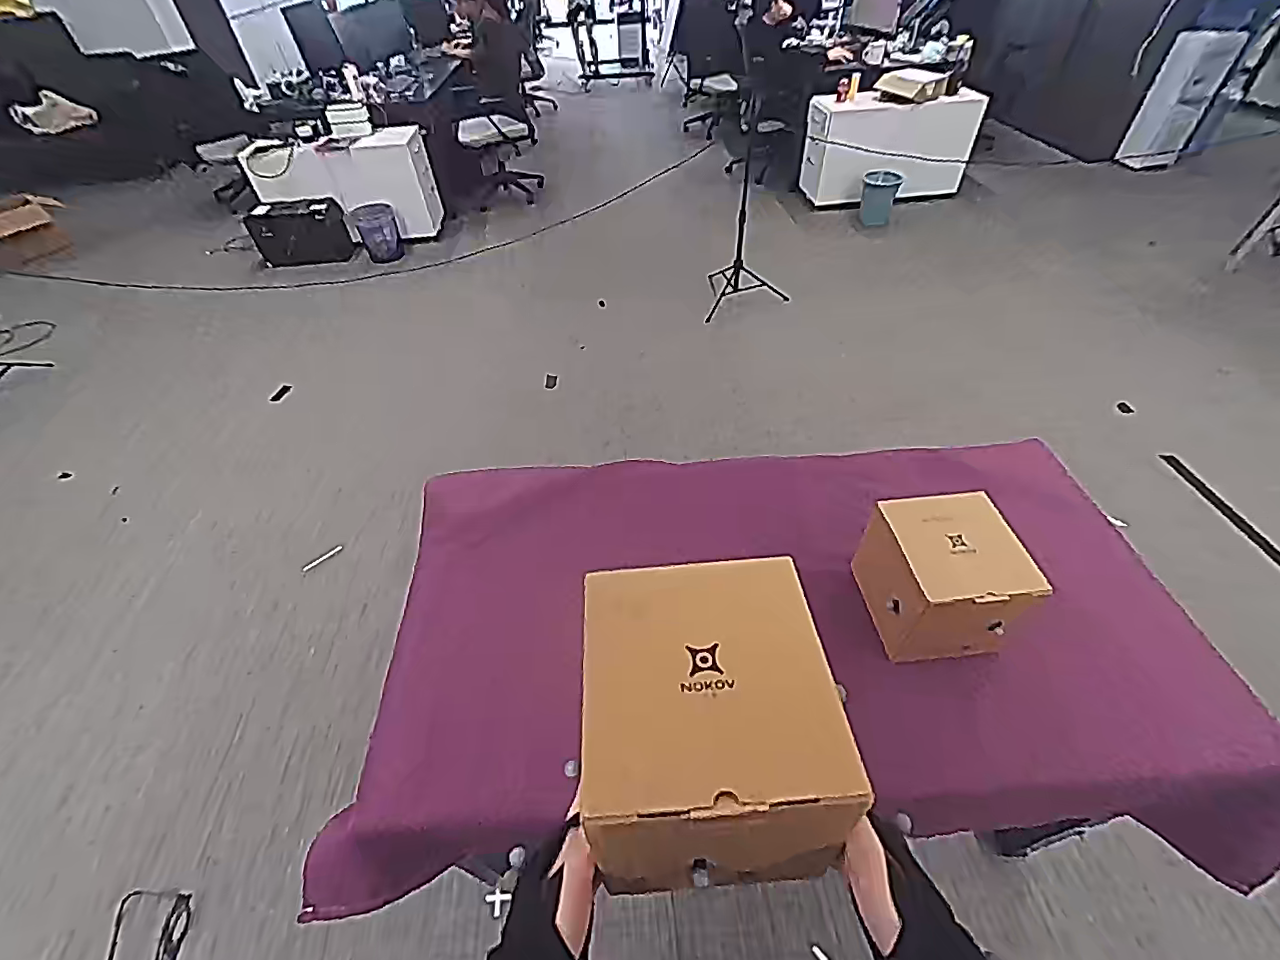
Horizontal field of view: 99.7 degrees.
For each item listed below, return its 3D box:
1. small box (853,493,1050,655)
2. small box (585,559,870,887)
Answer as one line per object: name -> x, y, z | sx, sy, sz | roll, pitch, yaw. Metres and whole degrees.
small box -> 0.438, 0.144, 0.796 | 0.168, 0.176, 0.179 | -5, 46, -1
small box -> 0.048, 0.185, 0.420 | 0.168, 0.176, 0.179 | -5, 43, -1
